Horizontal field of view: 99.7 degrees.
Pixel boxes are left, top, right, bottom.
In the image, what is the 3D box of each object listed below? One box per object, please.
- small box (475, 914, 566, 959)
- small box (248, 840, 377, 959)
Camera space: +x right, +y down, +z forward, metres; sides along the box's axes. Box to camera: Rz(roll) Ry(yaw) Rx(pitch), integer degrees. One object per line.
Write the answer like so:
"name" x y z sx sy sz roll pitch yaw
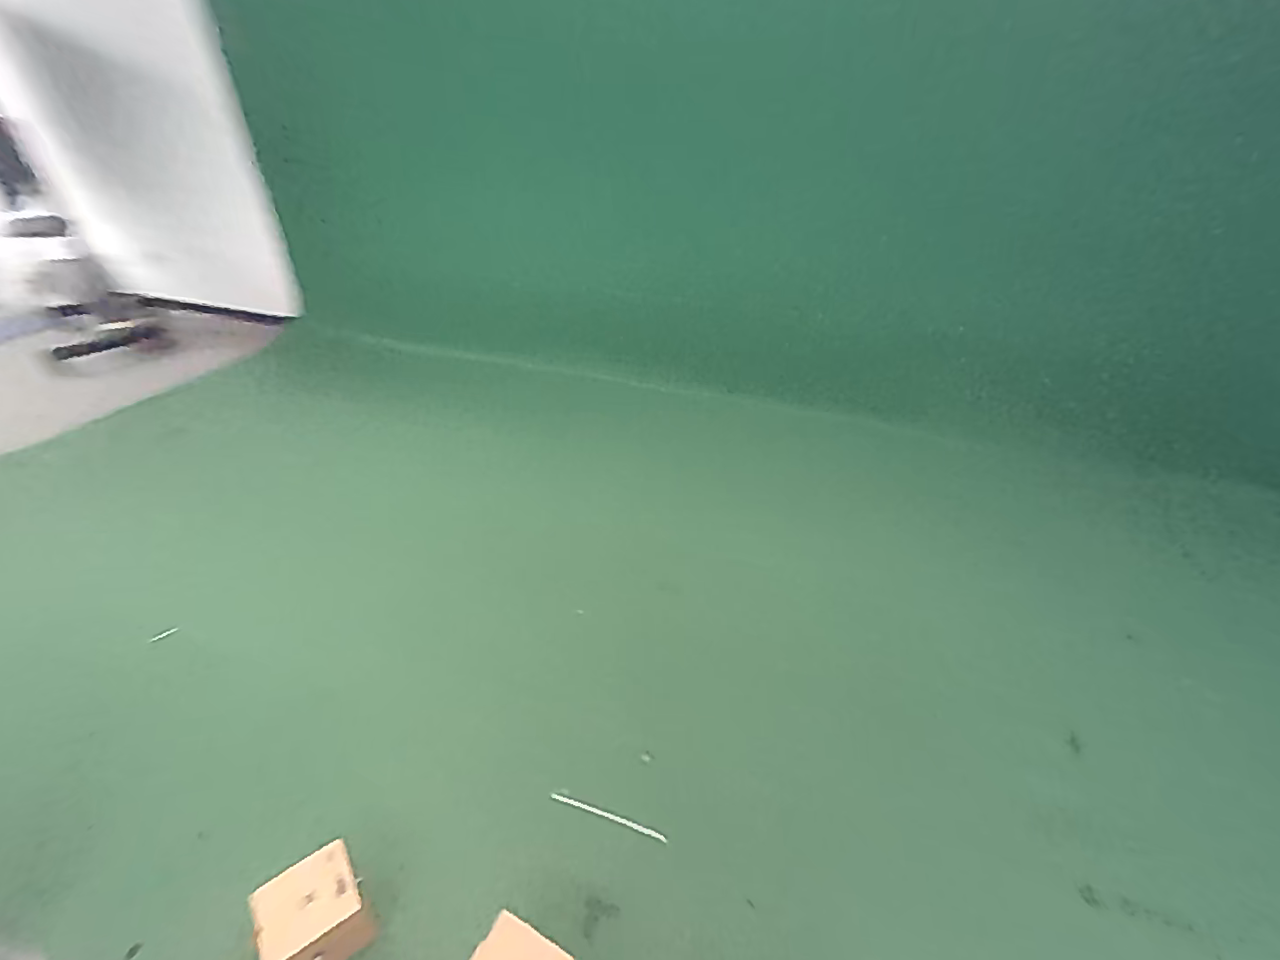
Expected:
"small box" -0.242 1.005 1.048 0.179 0.176 0.168 20 40 20
"small box" -0.684 0.922 1.138 0.179 0.176 0.168 -23 42 -30
